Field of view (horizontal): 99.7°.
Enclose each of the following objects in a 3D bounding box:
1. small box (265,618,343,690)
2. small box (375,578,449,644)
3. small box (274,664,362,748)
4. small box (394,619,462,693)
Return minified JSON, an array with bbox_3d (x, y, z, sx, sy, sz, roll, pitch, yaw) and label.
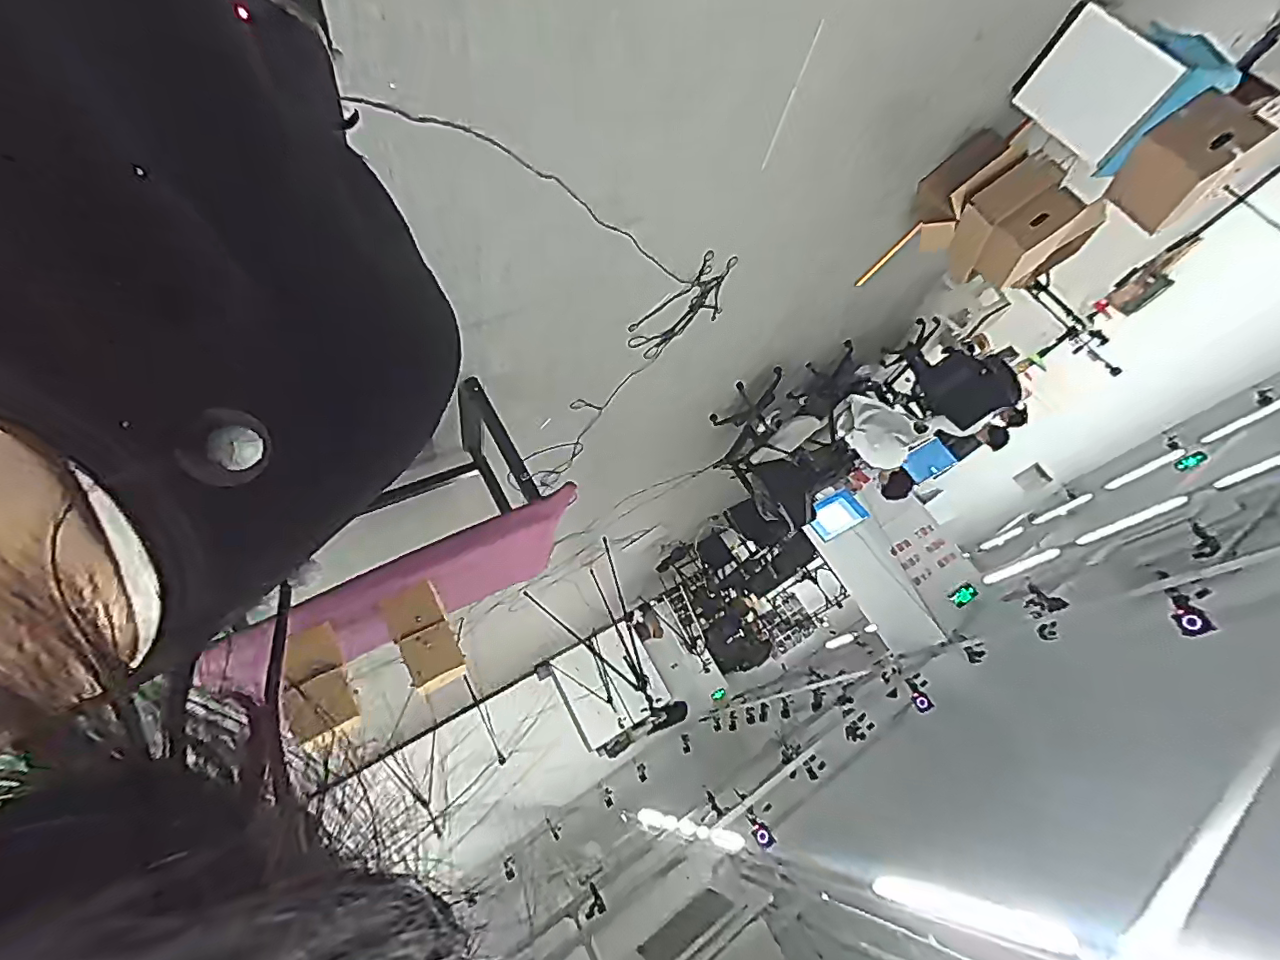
[{"bbox_3d":[-1.074,0.570,1.727,0.179,0.176,0.168,-21,160,-35],"label":"small box"},{"bbox_3d":[-0.800,0.466,1.900,0.179,0.176,0.168,-25,161,-19],"label":"small box"},{"bbox_3d":[-0.982,0.687,1.654,0.179,0.176,0.168,-23,160,-30],"label":"small box"},{"bbox_3d":[-0.720,0.596,1.841,0.168,0.176,0.179,-23,160,-27],"label":"small box"}]
